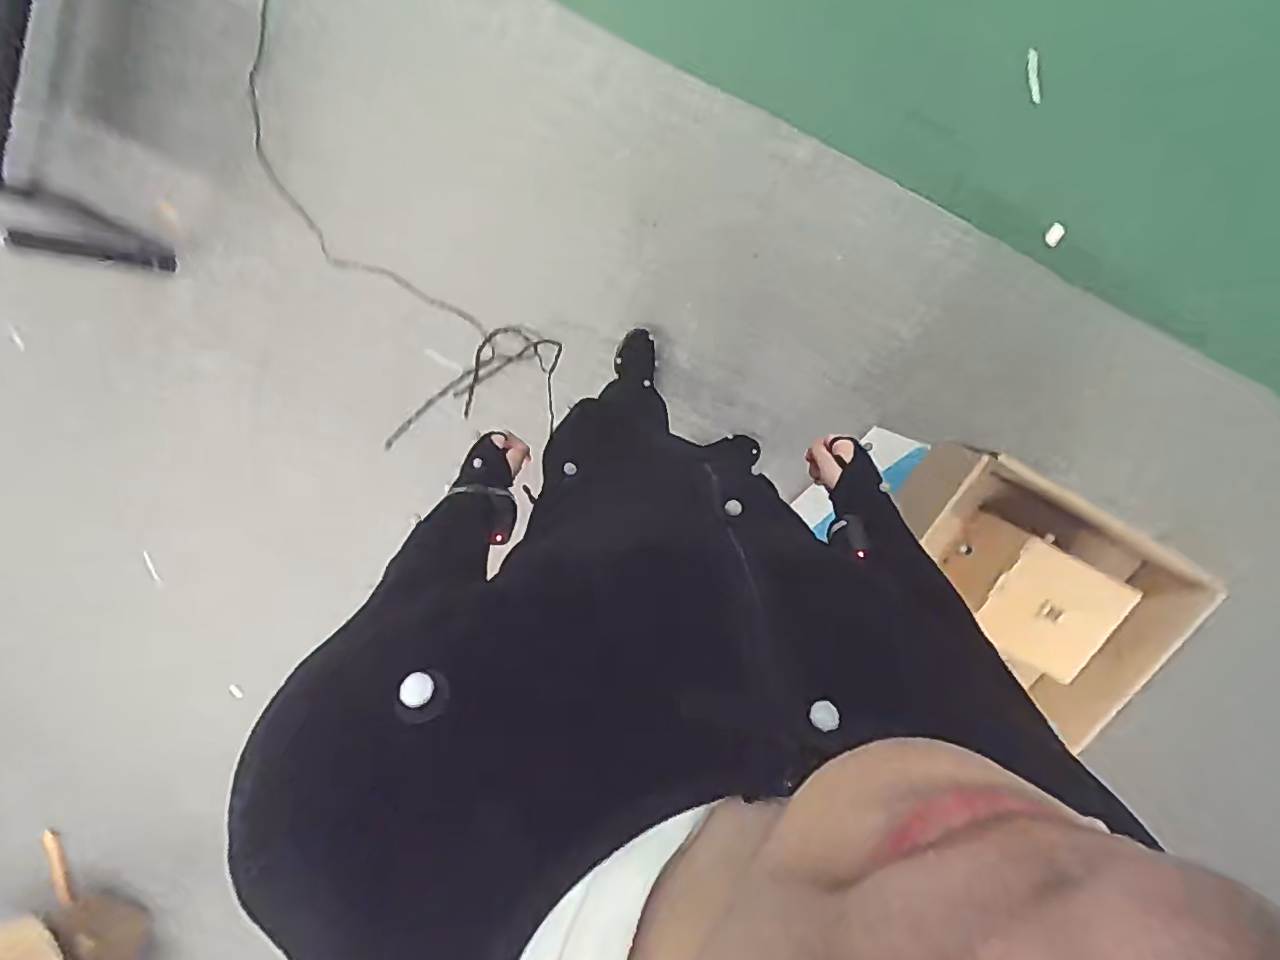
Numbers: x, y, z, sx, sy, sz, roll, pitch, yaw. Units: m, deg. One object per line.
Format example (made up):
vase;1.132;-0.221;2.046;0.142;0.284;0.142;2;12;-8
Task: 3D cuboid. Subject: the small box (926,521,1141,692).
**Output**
small box;0.596;0.186;0.848;0.179;0.176;0.168;29;105;1
